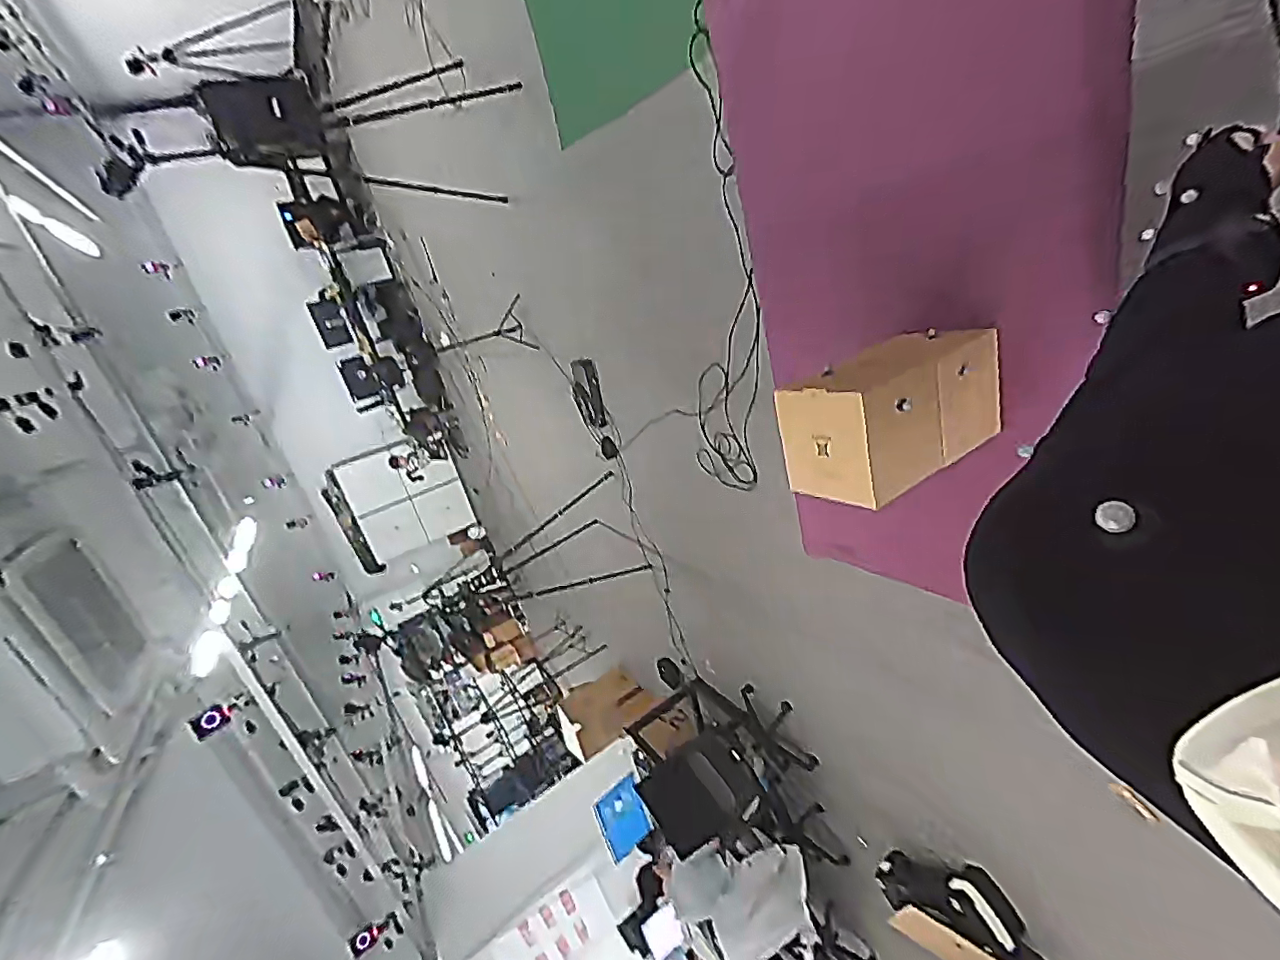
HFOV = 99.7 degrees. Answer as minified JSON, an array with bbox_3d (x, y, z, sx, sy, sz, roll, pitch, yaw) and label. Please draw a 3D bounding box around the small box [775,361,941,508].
[{"bbox_3d":[0.339,-0.081,0.838,0.168,0.176,0.179,18,128,57],"label":"small box"}]
